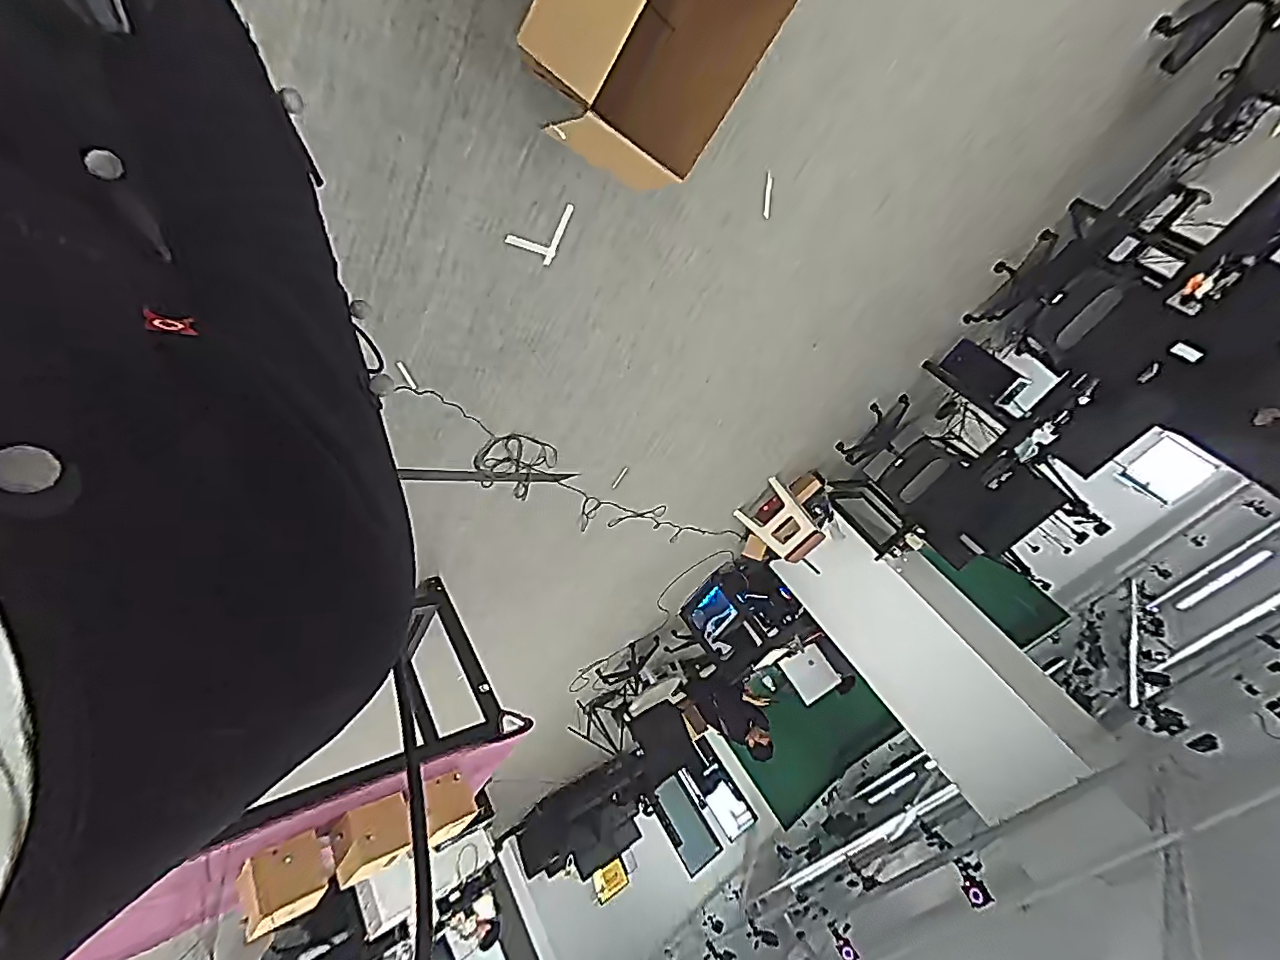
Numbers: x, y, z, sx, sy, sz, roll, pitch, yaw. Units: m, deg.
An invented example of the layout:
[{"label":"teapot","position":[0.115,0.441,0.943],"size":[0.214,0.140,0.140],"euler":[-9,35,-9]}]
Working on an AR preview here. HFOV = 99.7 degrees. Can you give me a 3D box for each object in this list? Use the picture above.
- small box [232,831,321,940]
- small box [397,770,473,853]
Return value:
[{"label":"small box","position":[-1.039,1.145,1.539],"size":[0.168,0.176,0.179],"euler":[1,133,-49]},{"label":"small box","position":[-0.726,1.154,1.900],"size":[0.168,0.176,0.179],"euler":[7,128,-52]}]
